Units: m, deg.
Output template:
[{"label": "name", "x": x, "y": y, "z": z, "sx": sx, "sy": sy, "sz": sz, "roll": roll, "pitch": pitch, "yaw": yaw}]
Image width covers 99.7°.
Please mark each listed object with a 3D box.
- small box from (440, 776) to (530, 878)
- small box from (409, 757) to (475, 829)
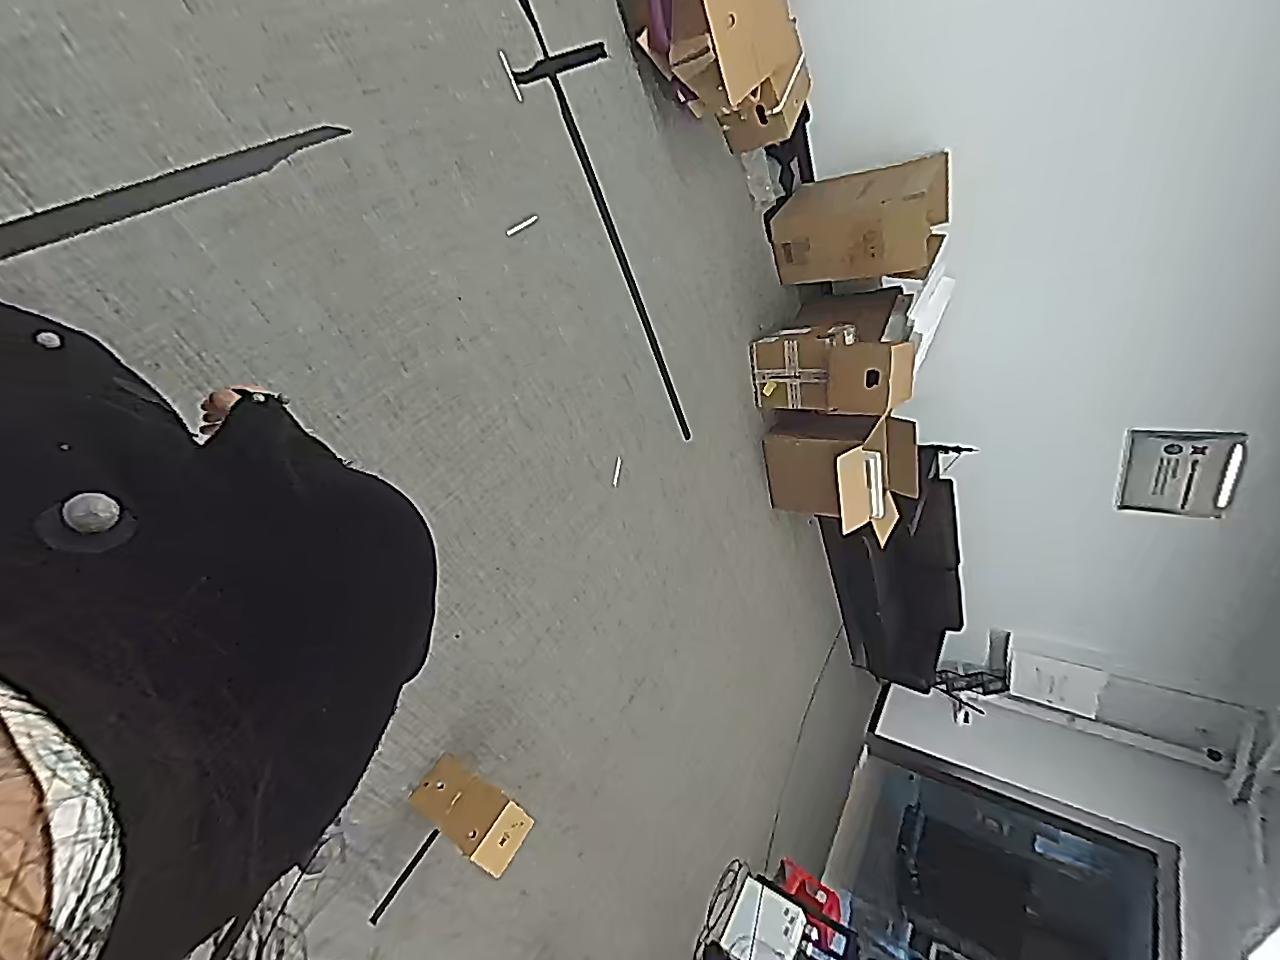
[{"label": "small box", "x": -0.477, "y": 1.049, "z": 1.642, "sx": 0.179, "sy": 0.176, "sz": 0.168, "roll": -51, "pitch": 133, "yaw": -34}, {"label": "small box", "x": -0.607, "y": 1.028, "z": 1.744, "sx": 0.168, "sy": 0.176, "sz": 0.179, "roll": -50, "pitch": 131, "yaw": -34}]
